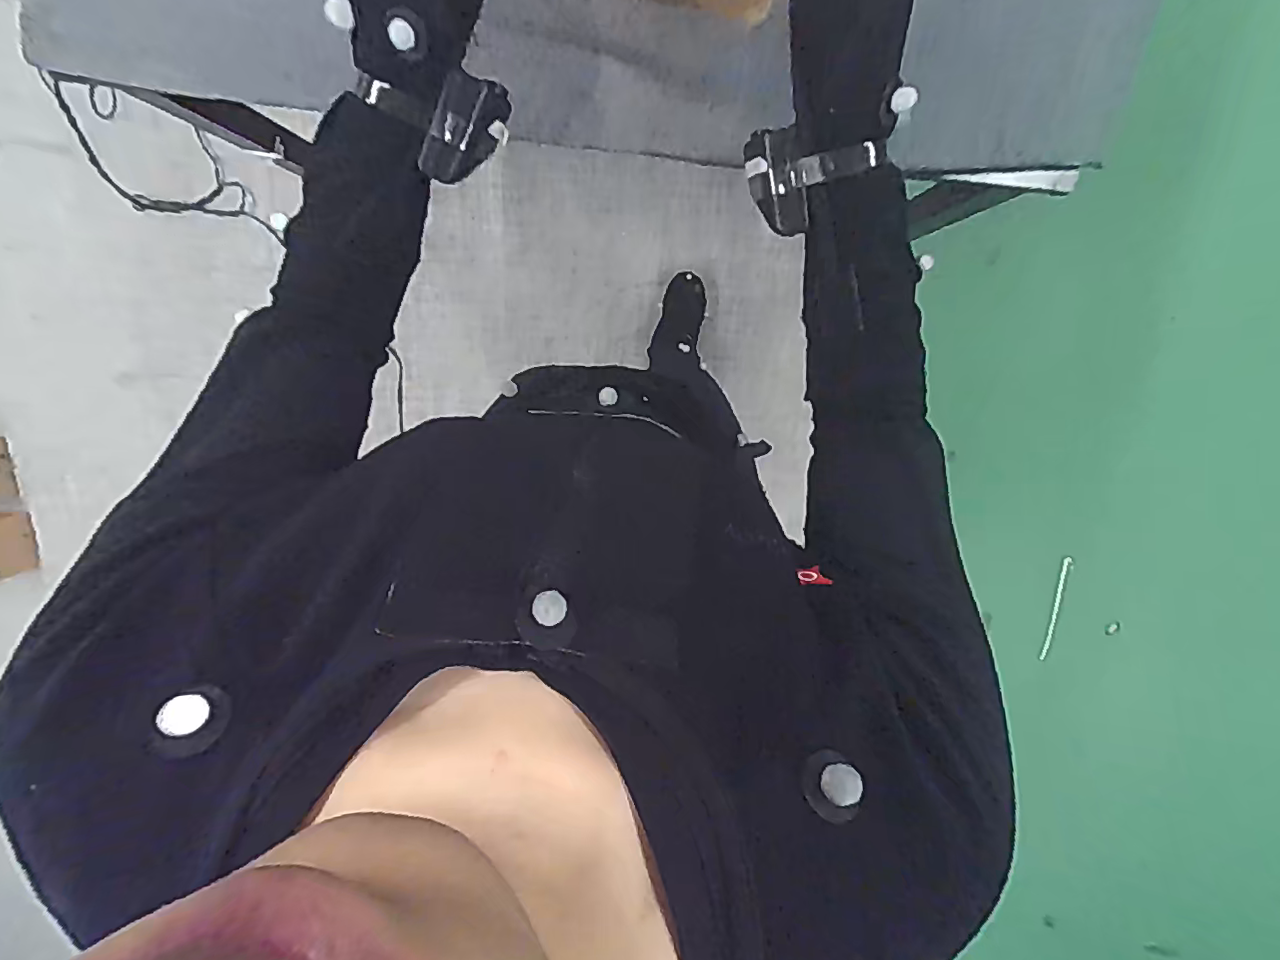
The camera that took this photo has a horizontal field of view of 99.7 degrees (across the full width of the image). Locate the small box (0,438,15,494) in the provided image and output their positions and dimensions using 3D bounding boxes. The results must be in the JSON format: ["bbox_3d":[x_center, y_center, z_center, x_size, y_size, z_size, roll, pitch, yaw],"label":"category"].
[{"bbox_3d":[-1.839,-0.027,1.424,0.179,0.176,0.168,3,105,0],"label":"small box"}]
